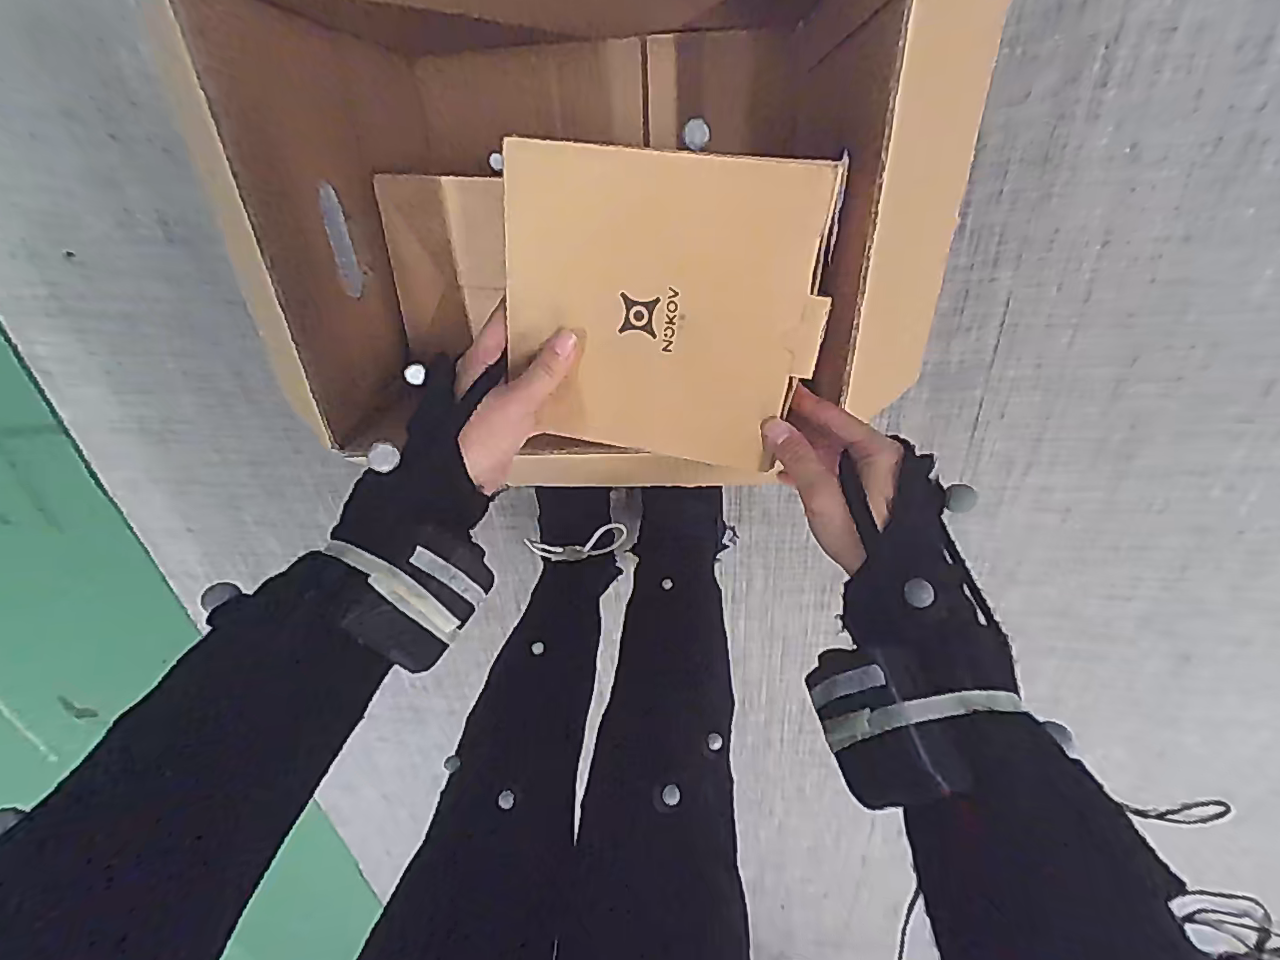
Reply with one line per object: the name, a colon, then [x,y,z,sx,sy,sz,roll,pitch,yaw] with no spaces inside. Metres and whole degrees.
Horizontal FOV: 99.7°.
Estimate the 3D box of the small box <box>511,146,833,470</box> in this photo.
small box: [0.025,-0.127,0.388,0.179,0.176,0.168,11,117,10]
